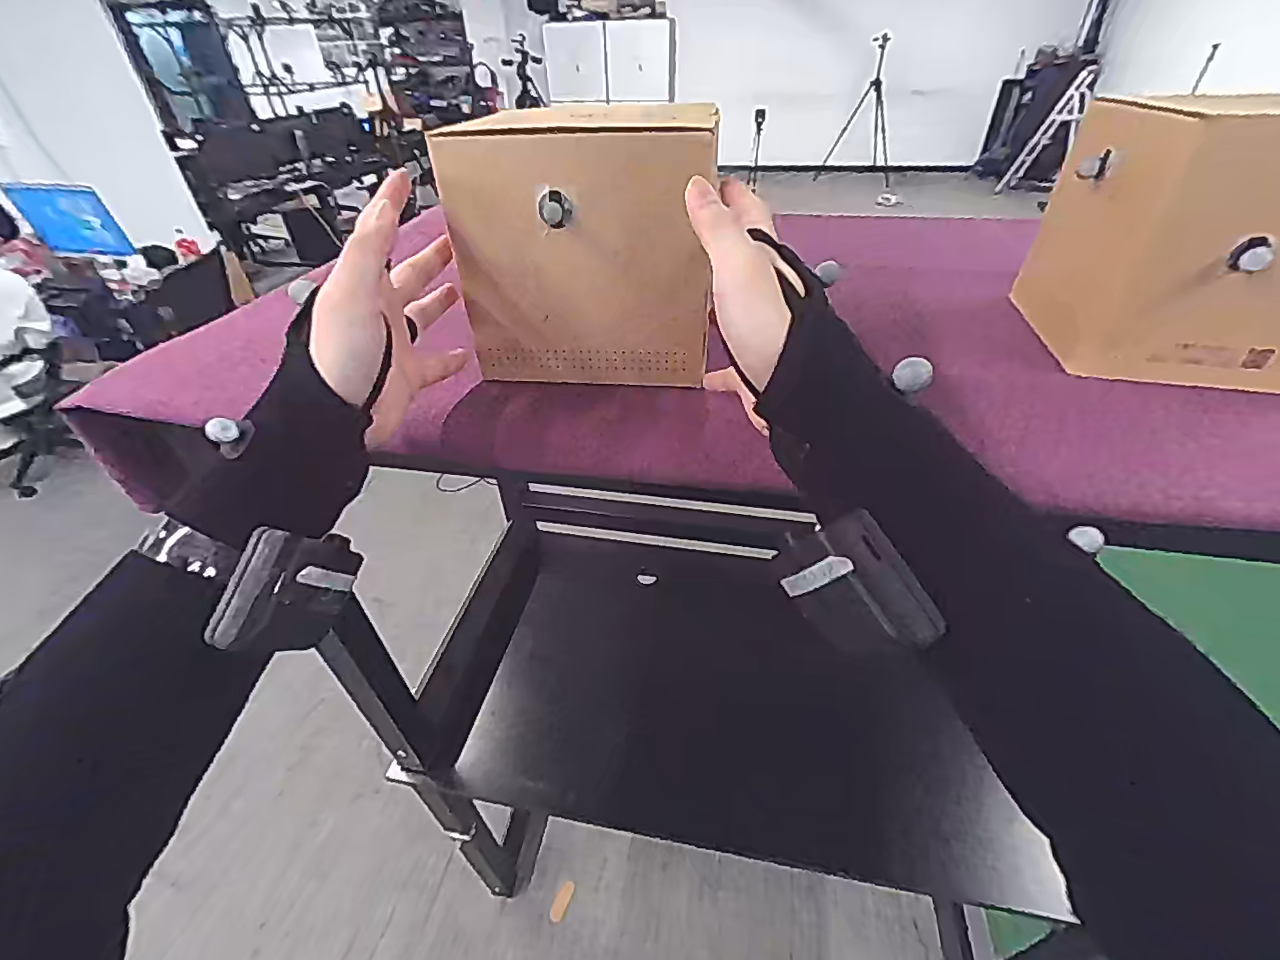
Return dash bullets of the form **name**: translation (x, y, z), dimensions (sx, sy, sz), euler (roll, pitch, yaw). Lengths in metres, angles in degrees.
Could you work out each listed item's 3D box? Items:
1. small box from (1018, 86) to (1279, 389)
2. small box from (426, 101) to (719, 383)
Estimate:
- **small box**: translation (0.417, -0.179, 0.396), dimensions (0.168, 0.176, 0.179), euler (8, 38, 13)
- **small box**: translation (-0.031, -0.187, 0.424), dimensions (0.179, 0.176, 0.168), euler (3, 39, 7)
